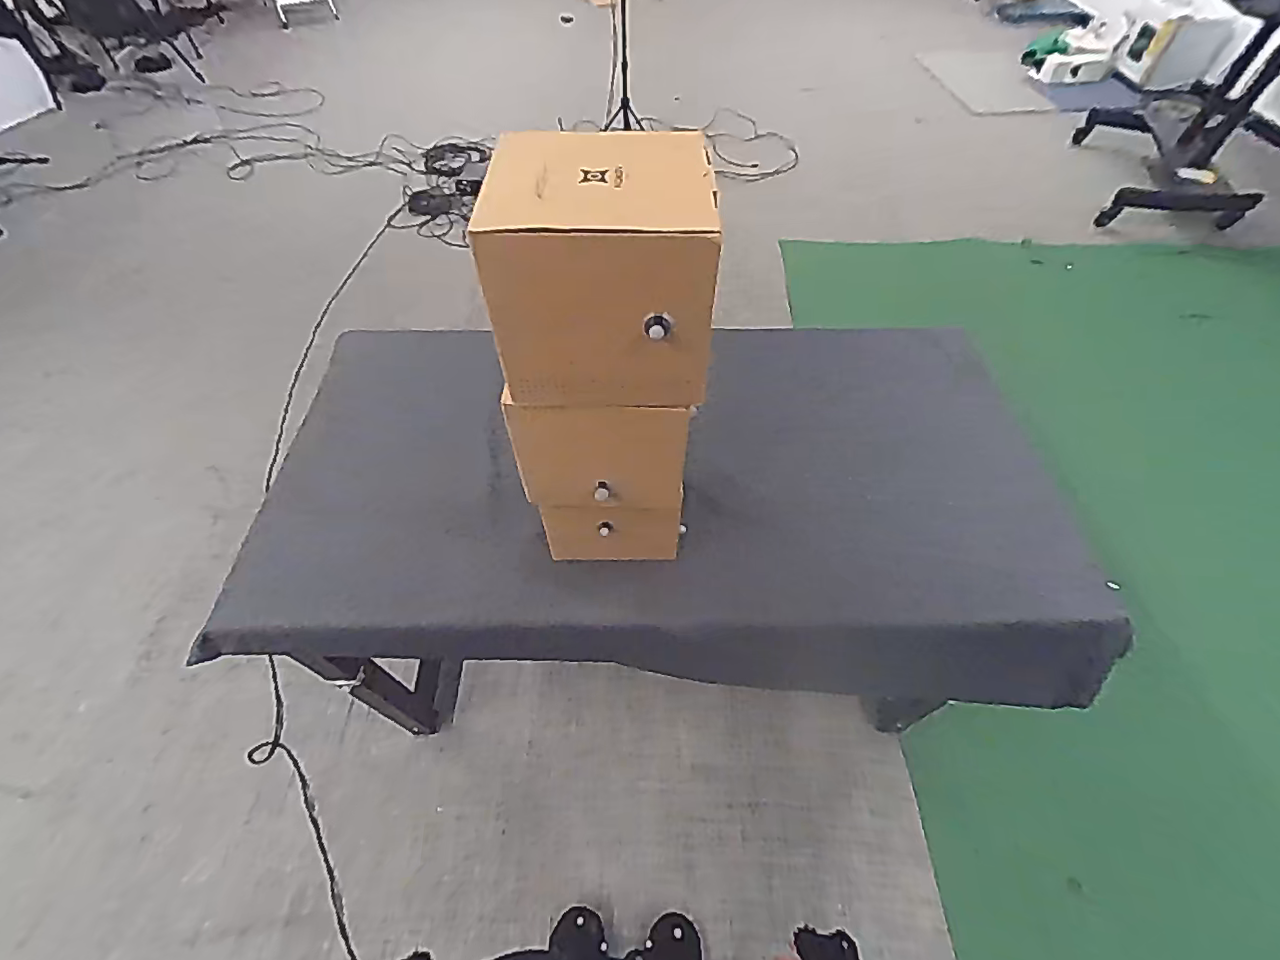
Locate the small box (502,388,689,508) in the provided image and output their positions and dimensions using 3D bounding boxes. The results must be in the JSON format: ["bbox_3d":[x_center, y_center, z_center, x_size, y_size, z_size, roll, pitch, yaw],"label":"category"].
[{"bbox_3d":[-0.043,-0.079,0.611,0.179,0.176,0.168,-1,55,0],"label":"small box"}]

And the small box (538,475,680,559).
[{"bbox_3d":[-0.039,-0.001,0.753,0.179,0.176,0.168,-1,53,1],"label":"small box"}]

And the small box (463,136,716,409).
[{"bbox_3d":[-0.034,-0.177,0.479,0.179,0.176,0.168,-2,52,0],"label":"small box"}]
